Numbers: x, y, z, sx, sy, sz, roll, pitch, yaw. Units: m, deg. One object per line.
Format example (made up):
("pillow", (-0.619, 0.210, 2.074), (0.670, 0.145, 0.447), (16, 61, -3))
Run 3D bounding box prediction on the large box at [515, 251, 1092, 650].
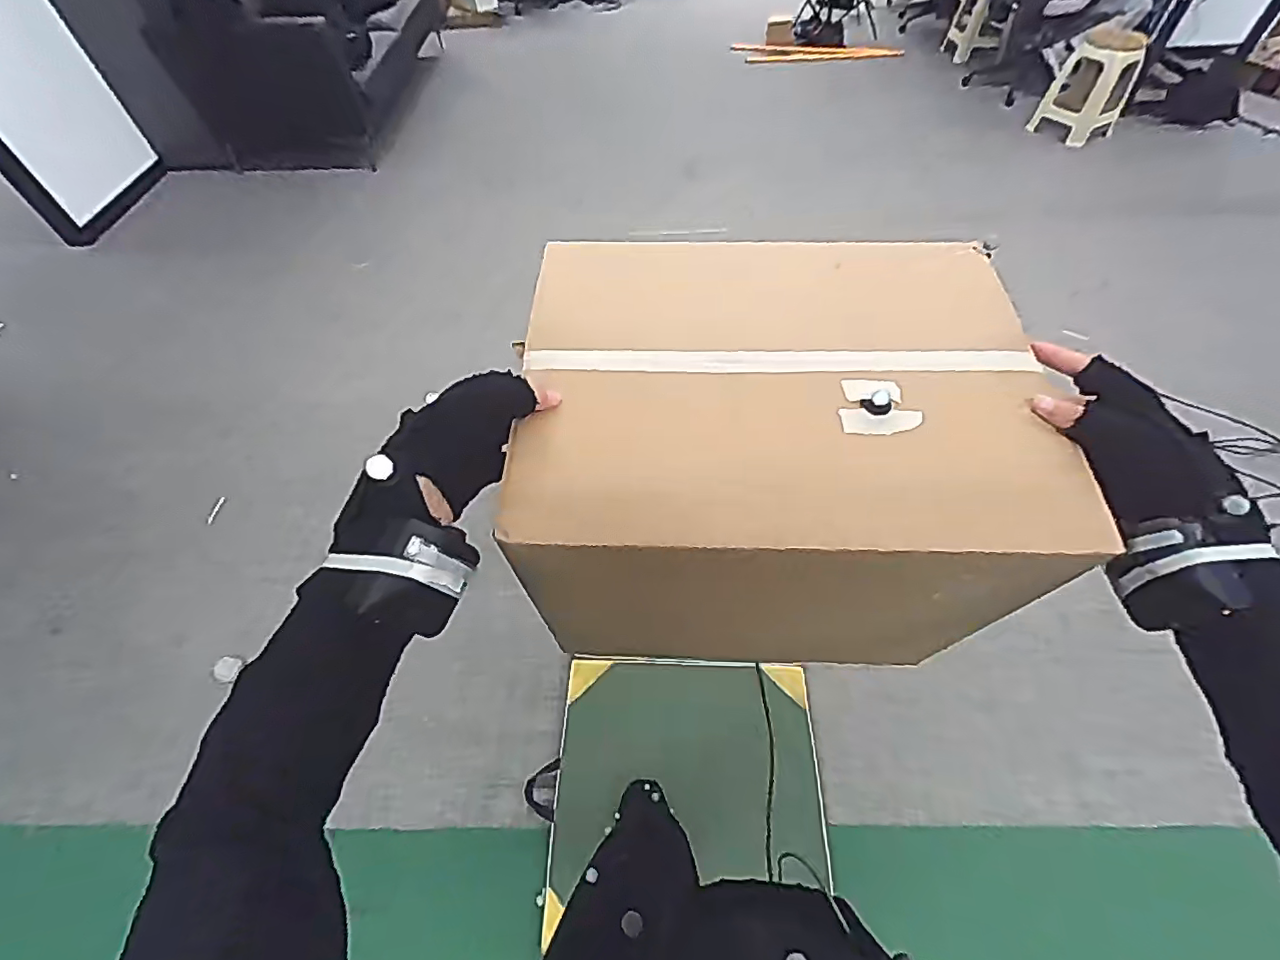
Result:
("large box", (0.111, -0.014, 0.570), (0.408, 0.320, 0.320), (1, 59, 1))
